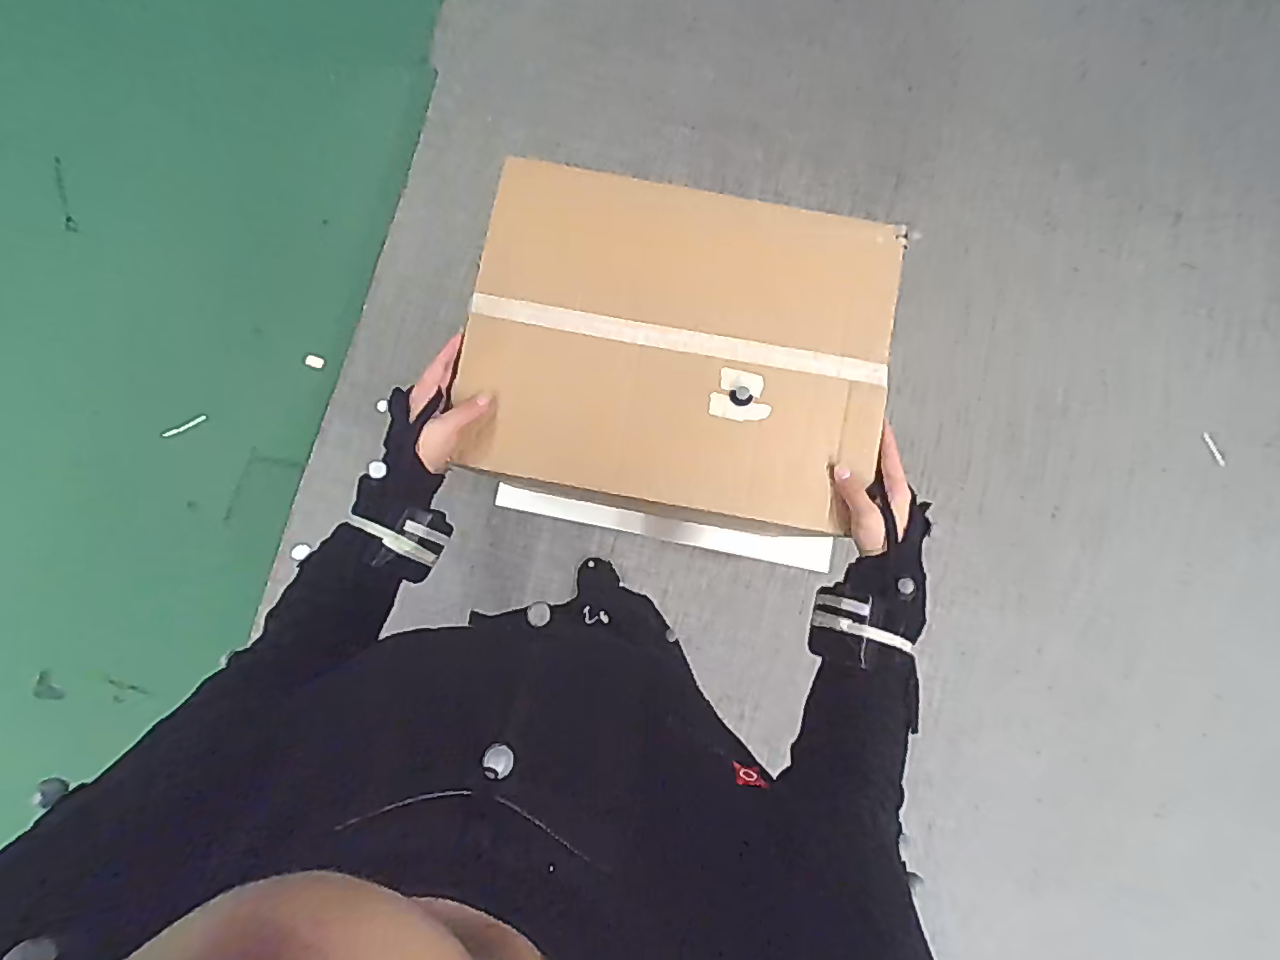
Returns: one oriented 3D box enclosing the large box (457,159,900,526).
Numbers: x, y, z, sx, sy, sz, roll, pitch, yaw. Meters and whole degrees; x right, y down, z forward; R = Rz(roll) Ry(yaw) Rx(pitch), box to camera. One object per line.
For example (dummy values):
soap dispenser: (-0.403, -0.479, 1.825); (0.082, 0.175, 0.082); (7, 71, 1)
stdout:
large box: (0.038, -0.127, 0.674); (0.408, 0.320, 0.320); (10, 85, -1)
